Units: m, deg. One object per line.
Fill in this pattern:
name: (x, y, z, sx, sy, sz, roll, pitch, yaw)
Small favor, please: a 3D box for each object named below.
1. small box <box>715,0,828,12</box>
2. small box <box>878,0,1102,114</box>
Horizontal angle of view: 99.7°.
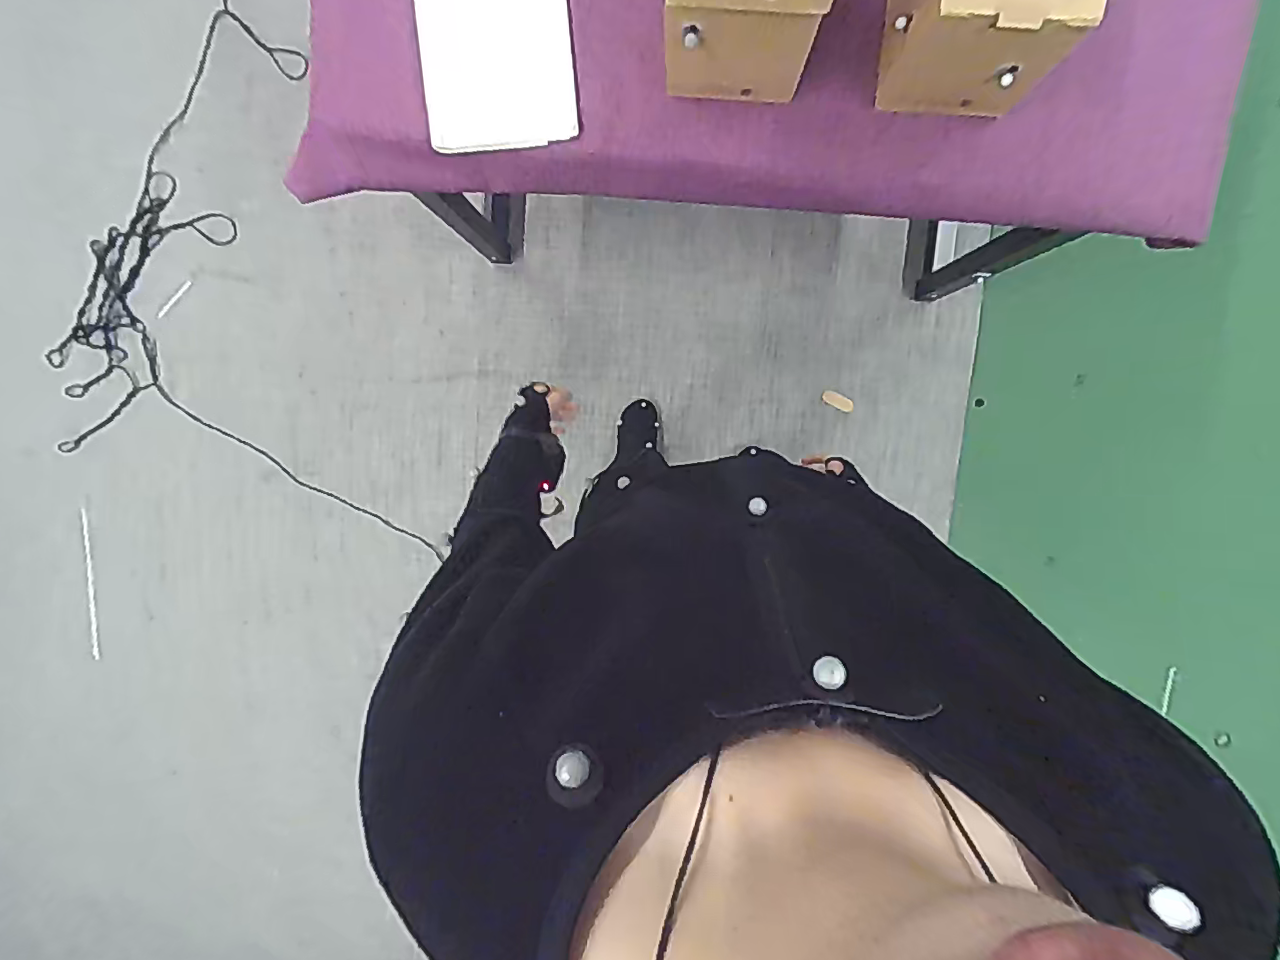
small box: (0.114, -0.557, 0.466, 0.168, 0.176, 0.179, 6, 95, 2)
small box: (0.392, -0.556, 0.618, 0.168, 0.176, 0.179, 6, 95, 1)
